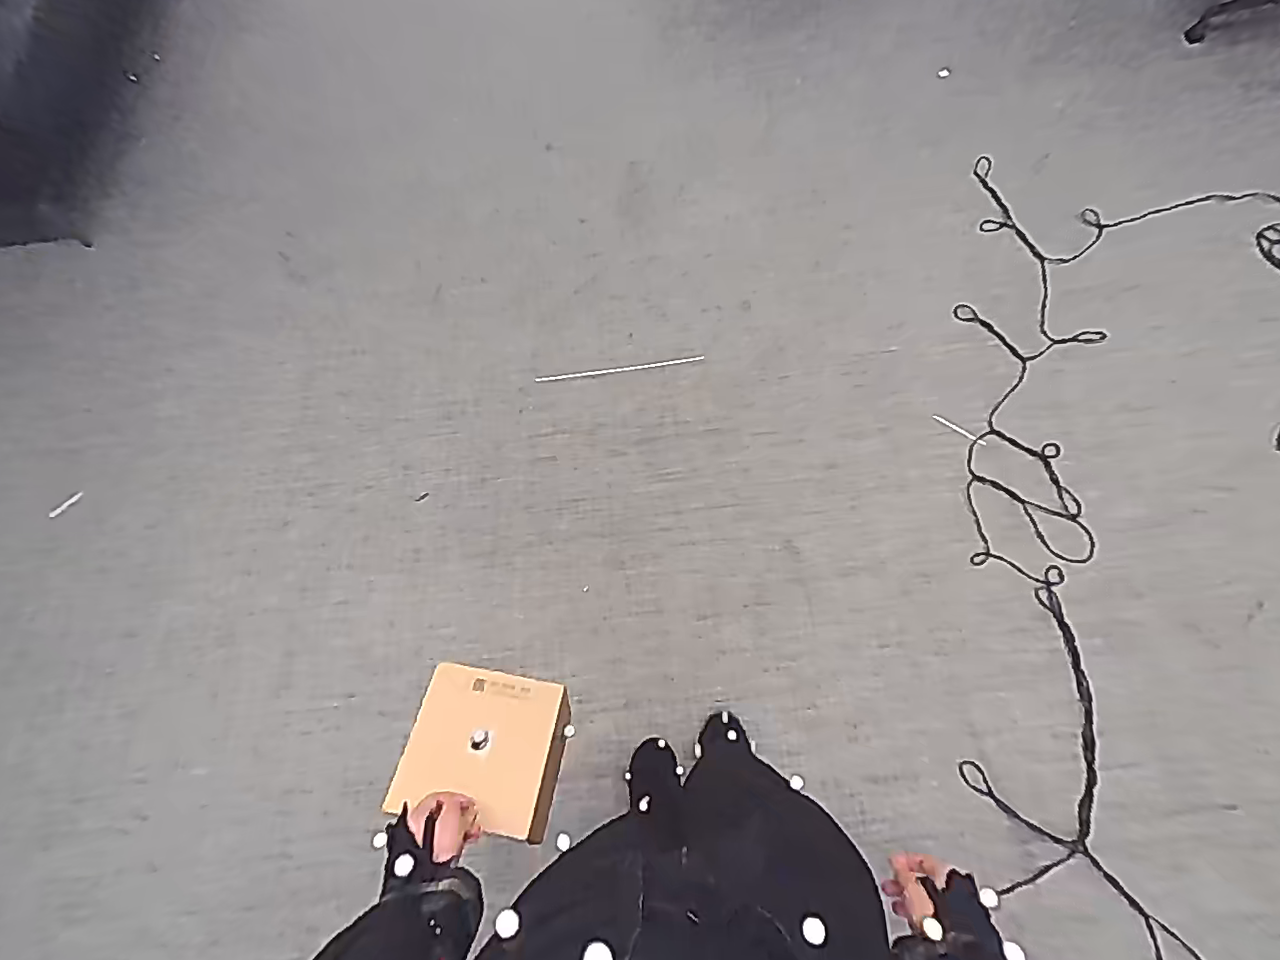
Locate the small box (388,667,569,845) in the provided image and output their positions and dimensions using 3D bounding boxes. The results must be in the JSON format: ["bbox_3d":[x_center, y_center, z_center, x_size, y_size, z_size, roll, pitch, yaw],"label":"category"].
[{"bbox_3d":[-0.191,0.356,0.700,0.168,0.179,0.176,9,54,2],"label":"small box"}]
